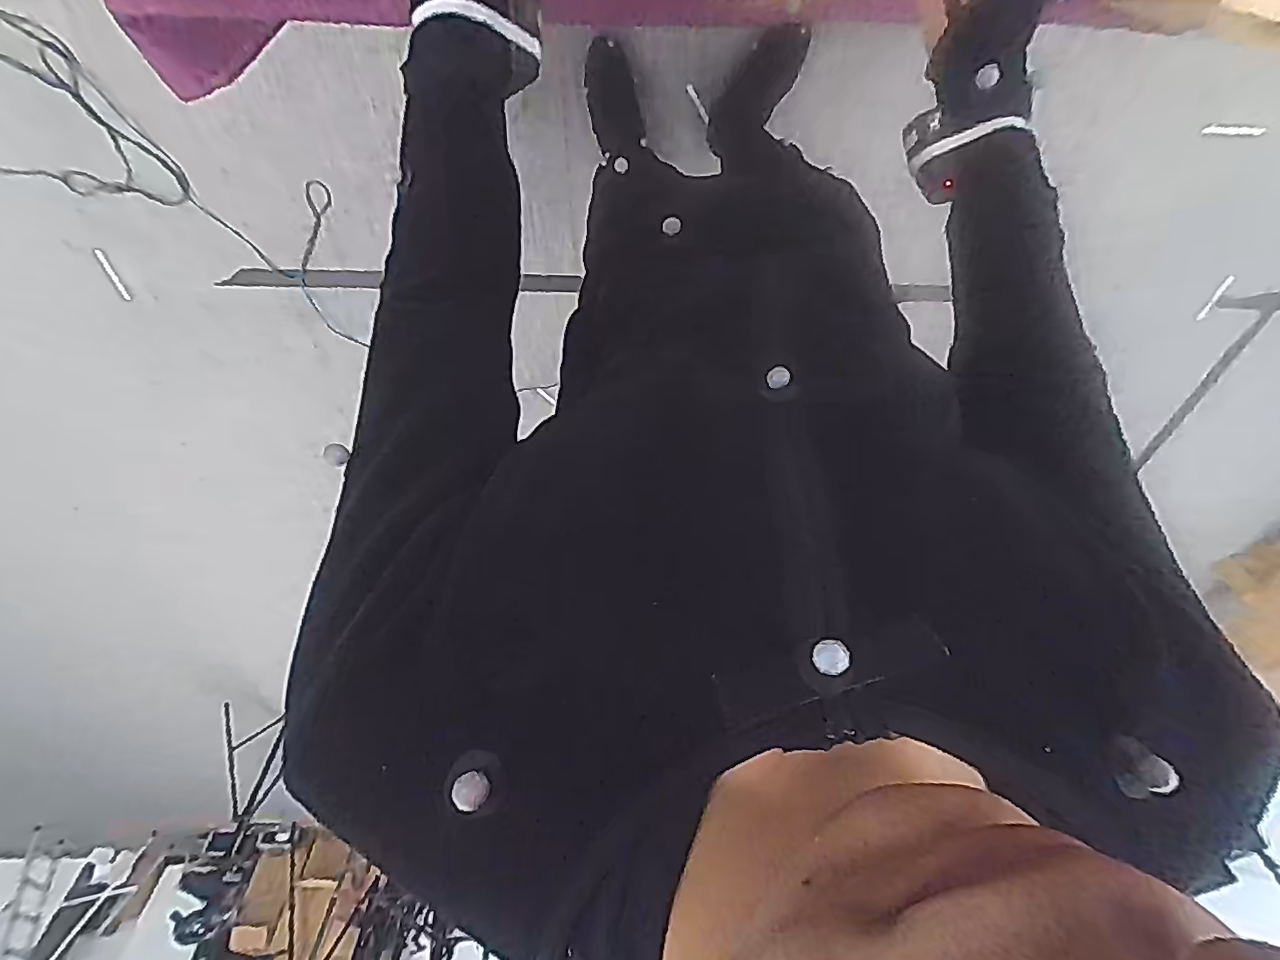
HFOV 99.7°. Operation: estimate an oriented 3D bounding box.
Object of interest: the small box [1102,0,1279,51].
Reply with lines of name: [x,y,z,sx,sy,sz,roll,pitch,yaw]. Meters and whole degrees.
small box: [0.570,-0.499,0.465,0.168,0.176,0.179,9,131,-8]
